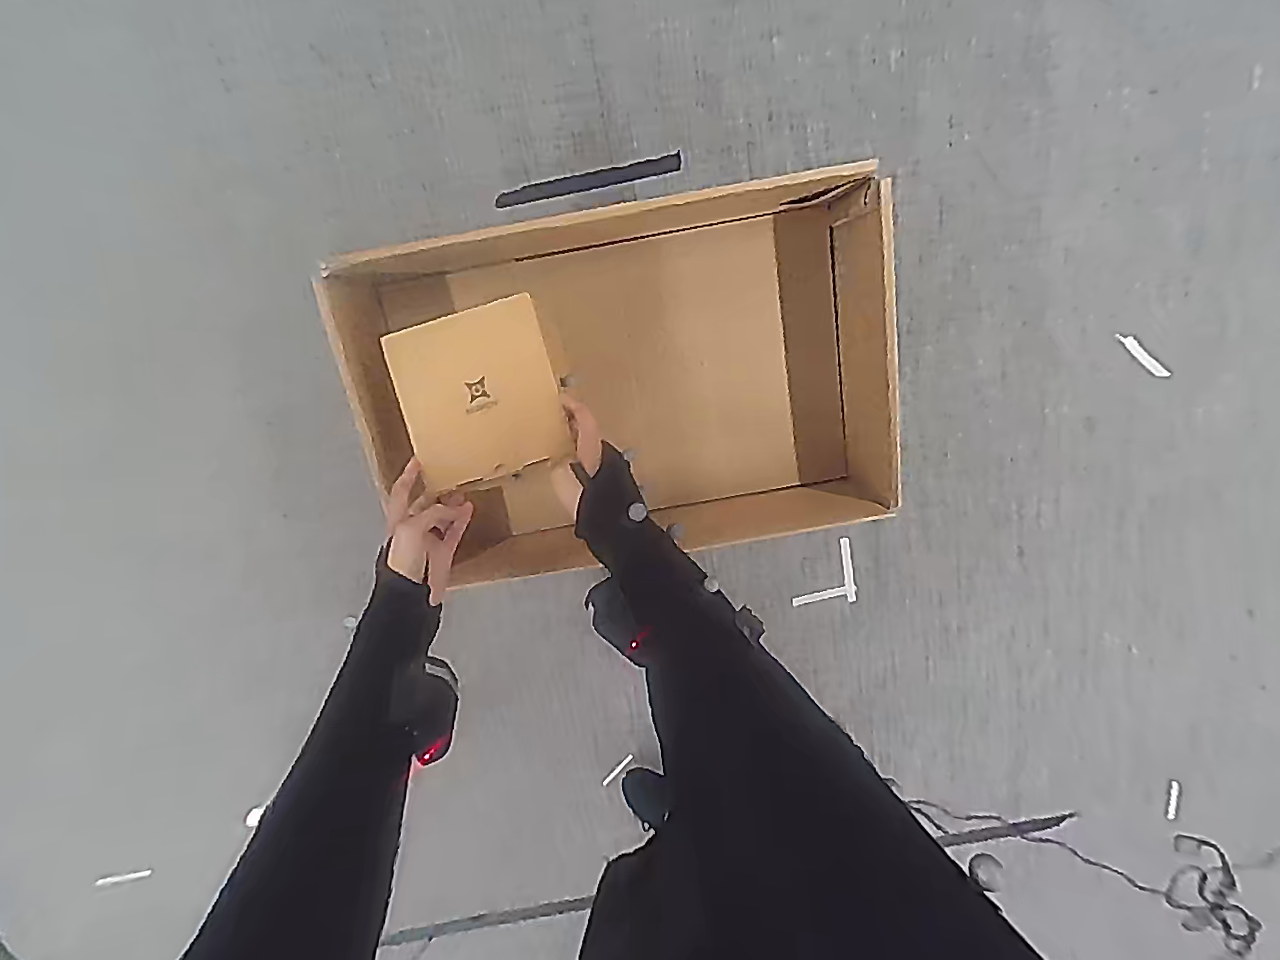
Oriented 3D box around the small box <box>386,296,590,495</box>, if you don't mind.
[{"bbox_3d":[-0.164,-0.090,0.640,0.168,0.176,0.179,-16,93,1],"label":"small box"}]
